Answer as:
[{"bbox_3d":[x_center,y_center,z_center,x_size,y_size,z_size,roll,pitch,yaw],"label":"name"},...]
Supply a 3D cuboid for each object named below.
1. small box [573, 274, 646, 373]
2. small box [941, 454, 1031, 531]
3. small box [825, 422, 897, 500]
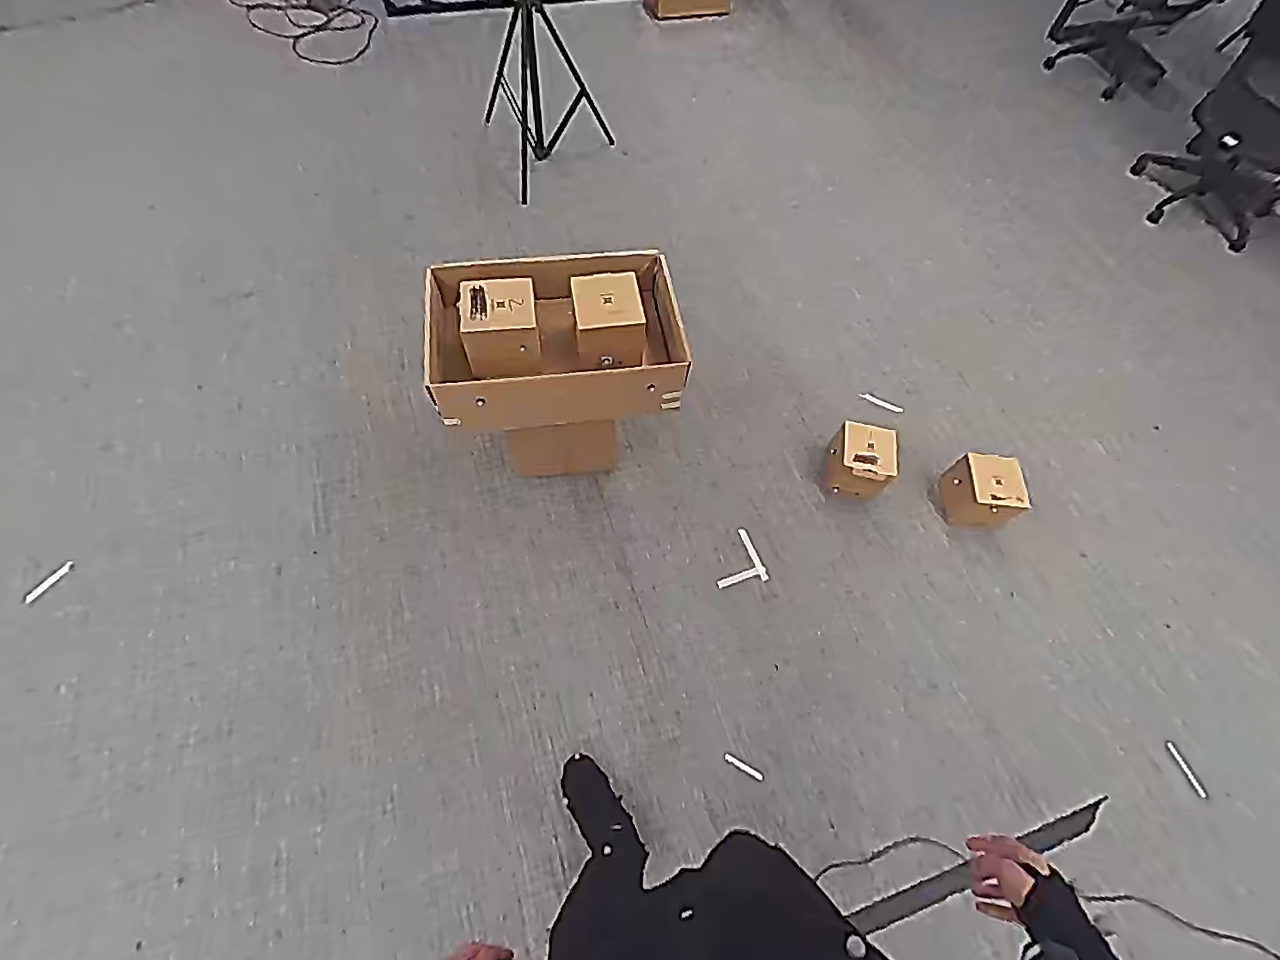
[{"bbox_3d":[-0.081,-0.401,1.395,0.168,0.176,0.179,-8,62,-7],"label":"small box"},{"bbox_3d":[1.092,0.042,1.723,0.168,0.176,0.179,7,61,0],"label":"small box"},{"bbox_3d":[0.709,-0.056,1.746,0.168,0.176,0.179,13,62,2],"label":"small box"}]
